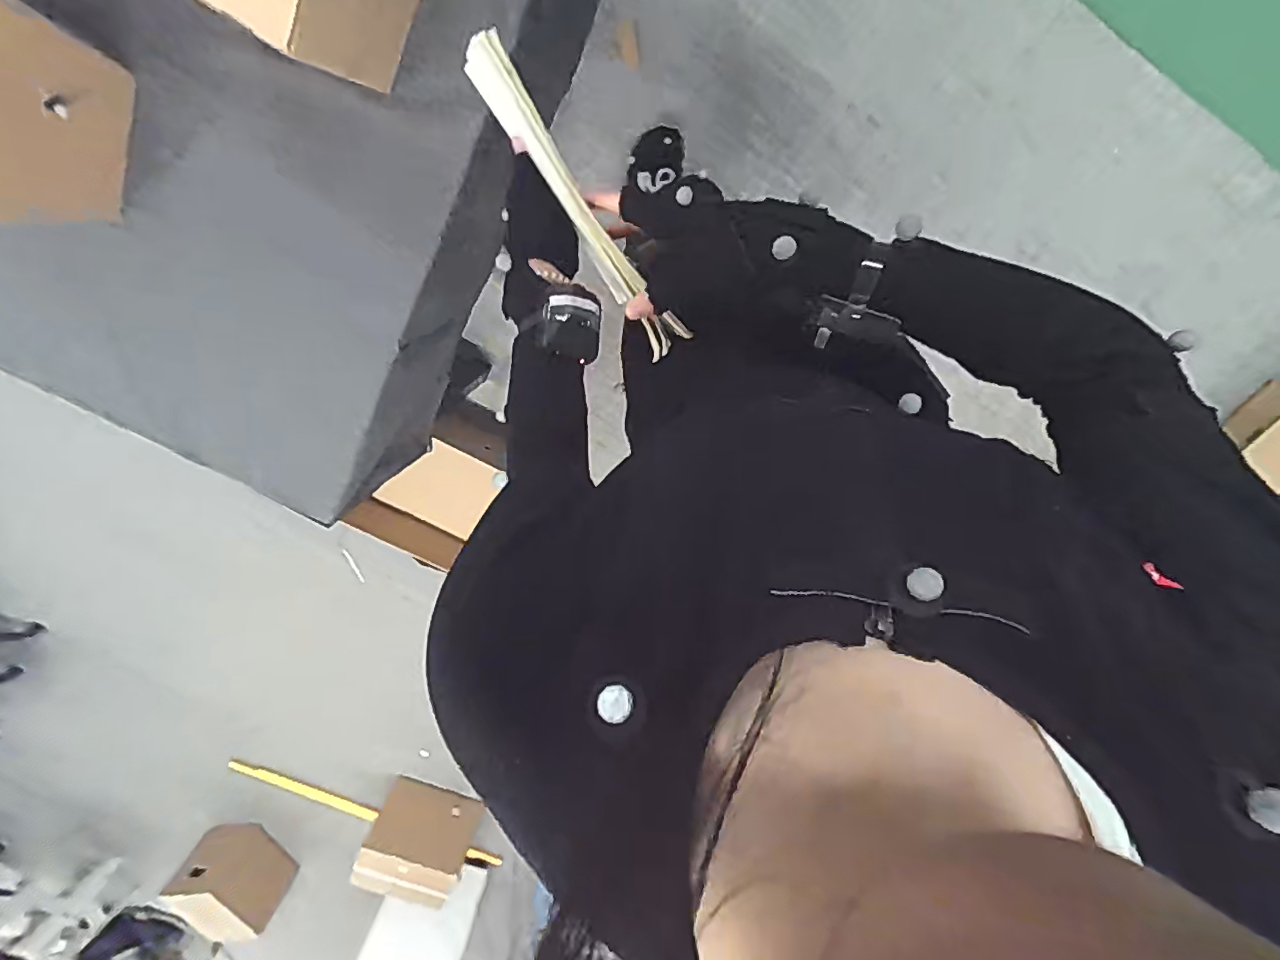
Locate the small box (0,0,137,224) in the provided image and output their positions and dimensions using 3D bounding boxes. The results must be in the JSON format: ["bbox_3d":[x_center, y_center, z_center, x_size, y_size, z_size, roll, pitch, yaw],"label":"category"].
[{"bbox_3d":[-0.689,-0.396,0.566,0.168,0.176,0.179,32,114,-10],"label":"small box"}]

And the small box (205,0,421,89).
[{"bbox_3d":[-0.306,-0.493,0.475,0.168,0.176,0.179,32,116,-8],"label":"small box"}]
